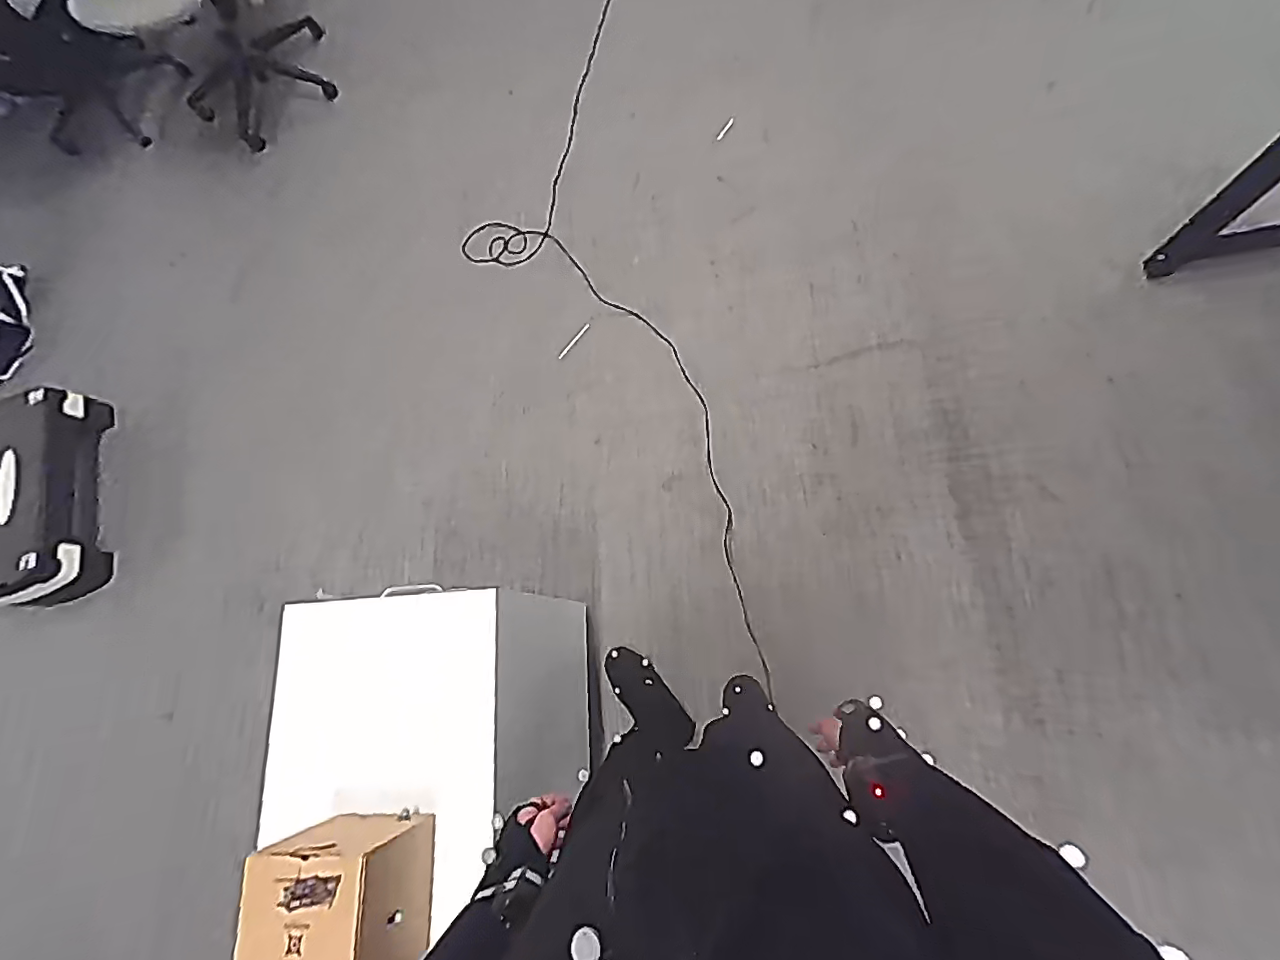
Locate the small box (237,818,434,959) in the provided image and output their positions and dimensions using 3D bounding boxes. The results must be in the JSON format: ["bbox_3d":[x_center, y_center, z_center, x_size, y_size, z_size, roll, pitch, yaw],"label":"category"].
[{"bbox_3d":[-0.396,0.576,0.729,0.168,0.176,0.179,-6,74,9],"label":"small box"}]
